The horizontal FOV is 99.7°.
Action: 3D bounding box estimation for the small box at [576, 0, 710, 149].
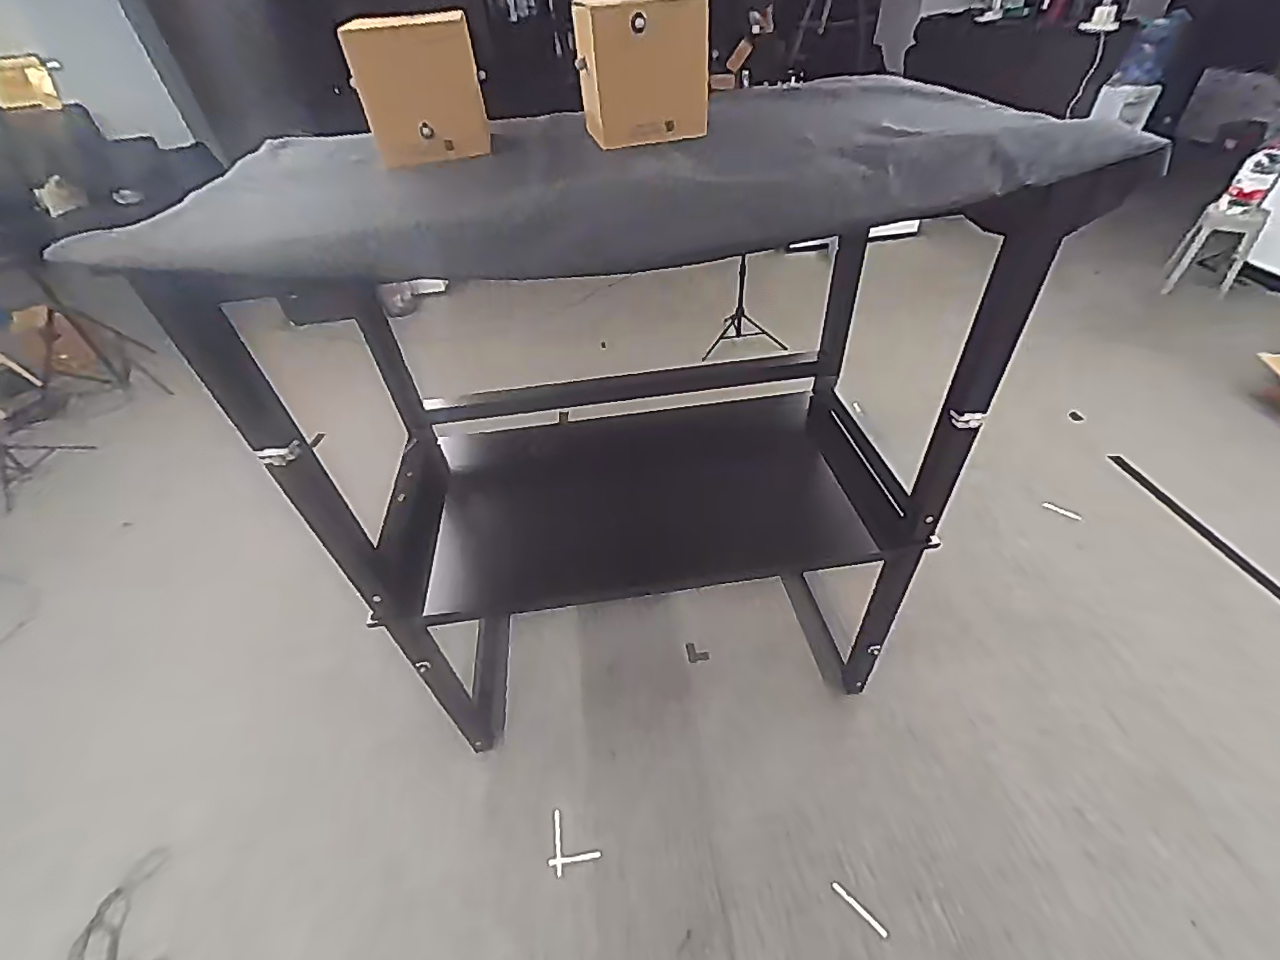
[{"bbox_3d":[0.002,-0.625,0.834,0.168,0.176,0.179,-12,43,-7],"label":"small box"}]
